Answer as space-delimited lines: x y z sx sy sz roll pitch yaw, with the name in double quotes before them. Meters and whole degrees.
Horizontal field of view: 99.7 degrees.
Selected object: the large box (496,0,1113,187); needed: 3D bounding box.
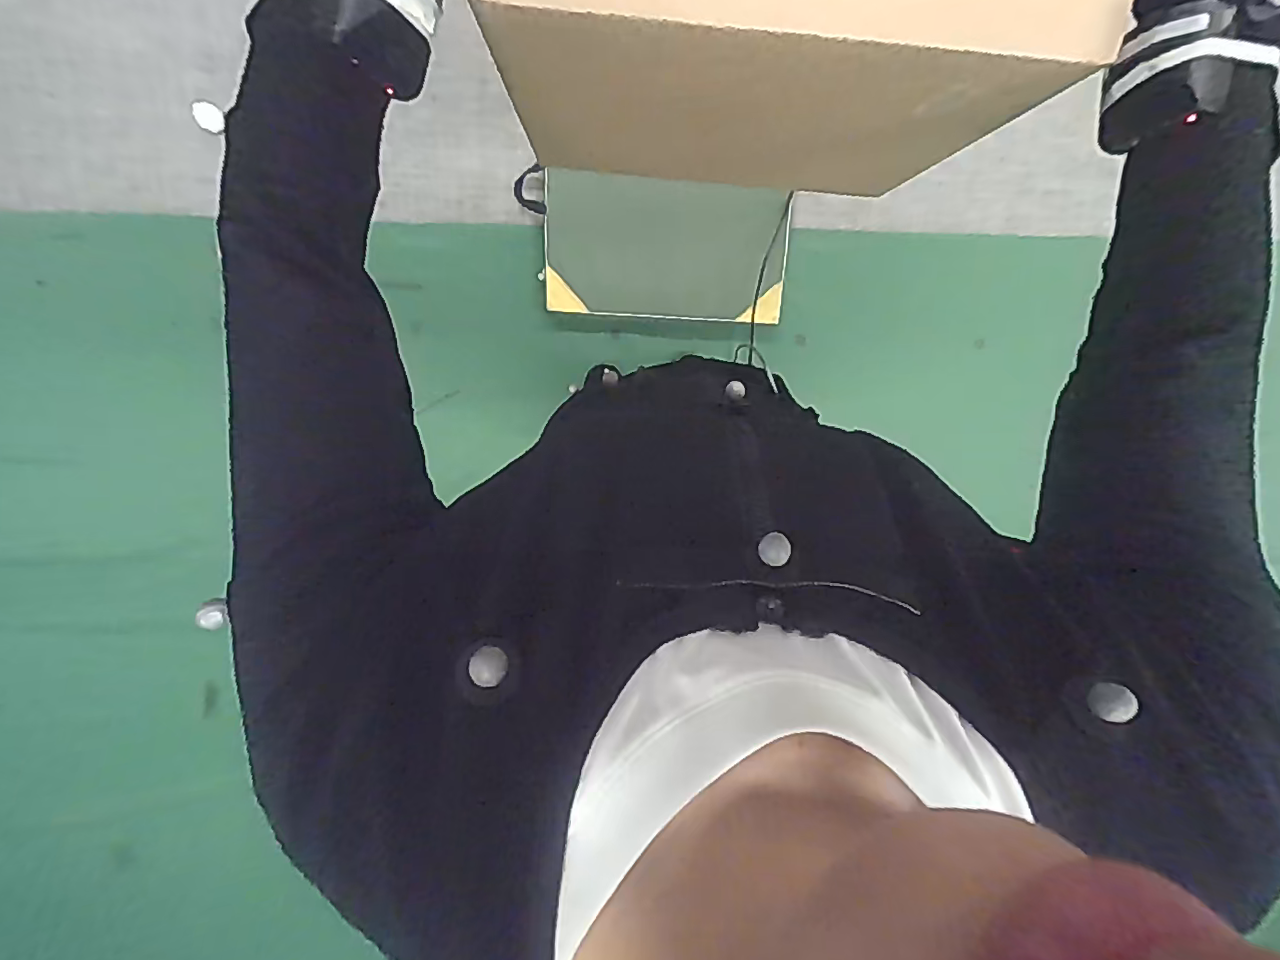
"large box" 0.103 -0.465 0.452 0.408 0.320 0.320 2 104 -4
